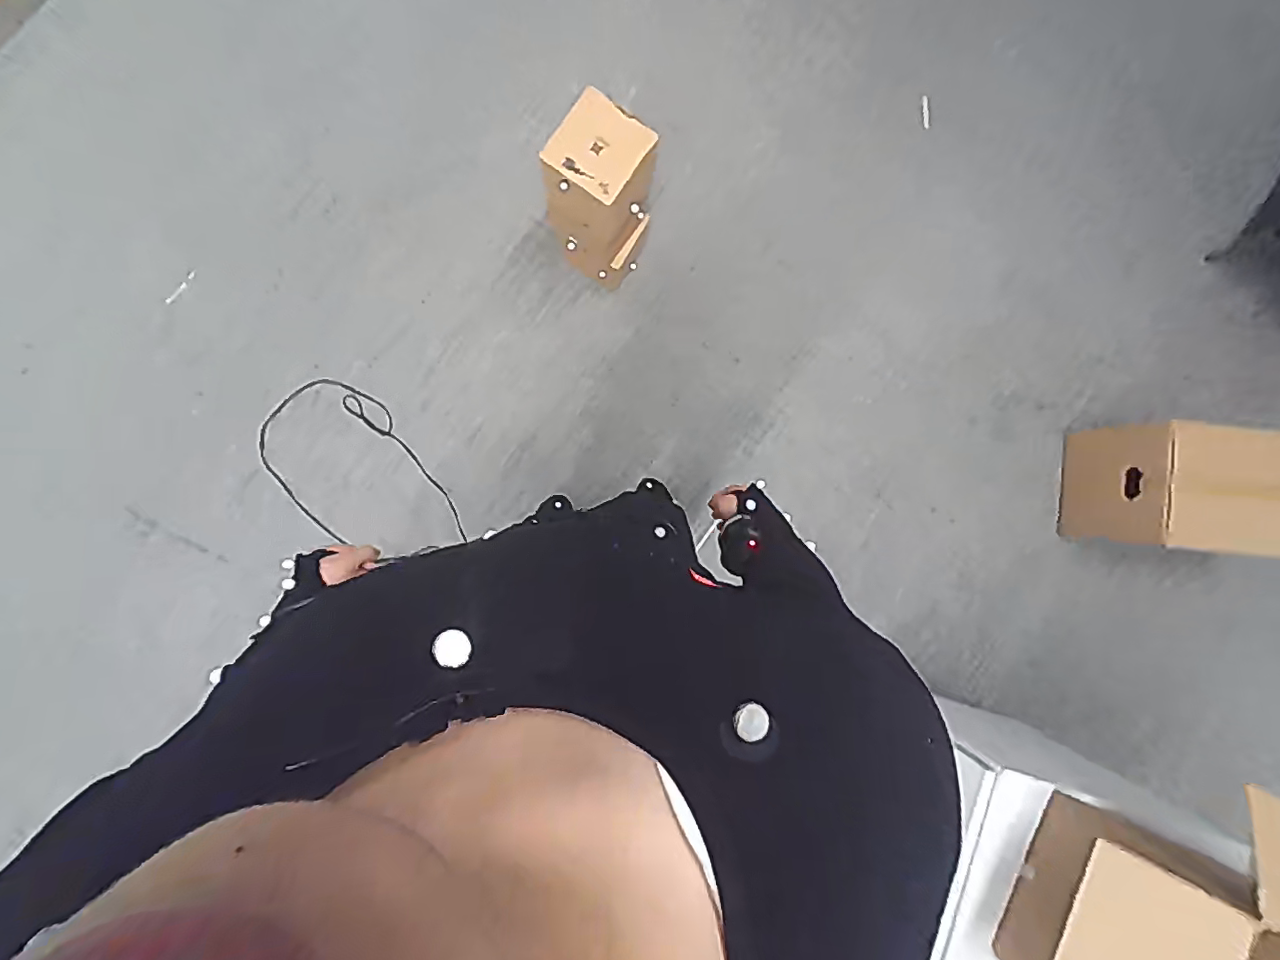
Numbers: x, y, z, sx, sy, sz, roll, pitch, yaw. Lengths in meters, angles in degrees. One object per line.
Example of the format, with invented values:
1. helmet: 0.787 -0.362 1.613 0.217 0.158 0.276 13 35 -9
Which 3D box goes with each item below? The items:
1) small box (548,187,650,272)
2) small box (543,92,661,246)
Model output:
1. small box: -0.098 -0.633 1.276 0.168 0.176 0.179 35 87 -3
2. small box: -0.080 -0.628 1.113 0.168 0.176 0.179 35 85 -3
